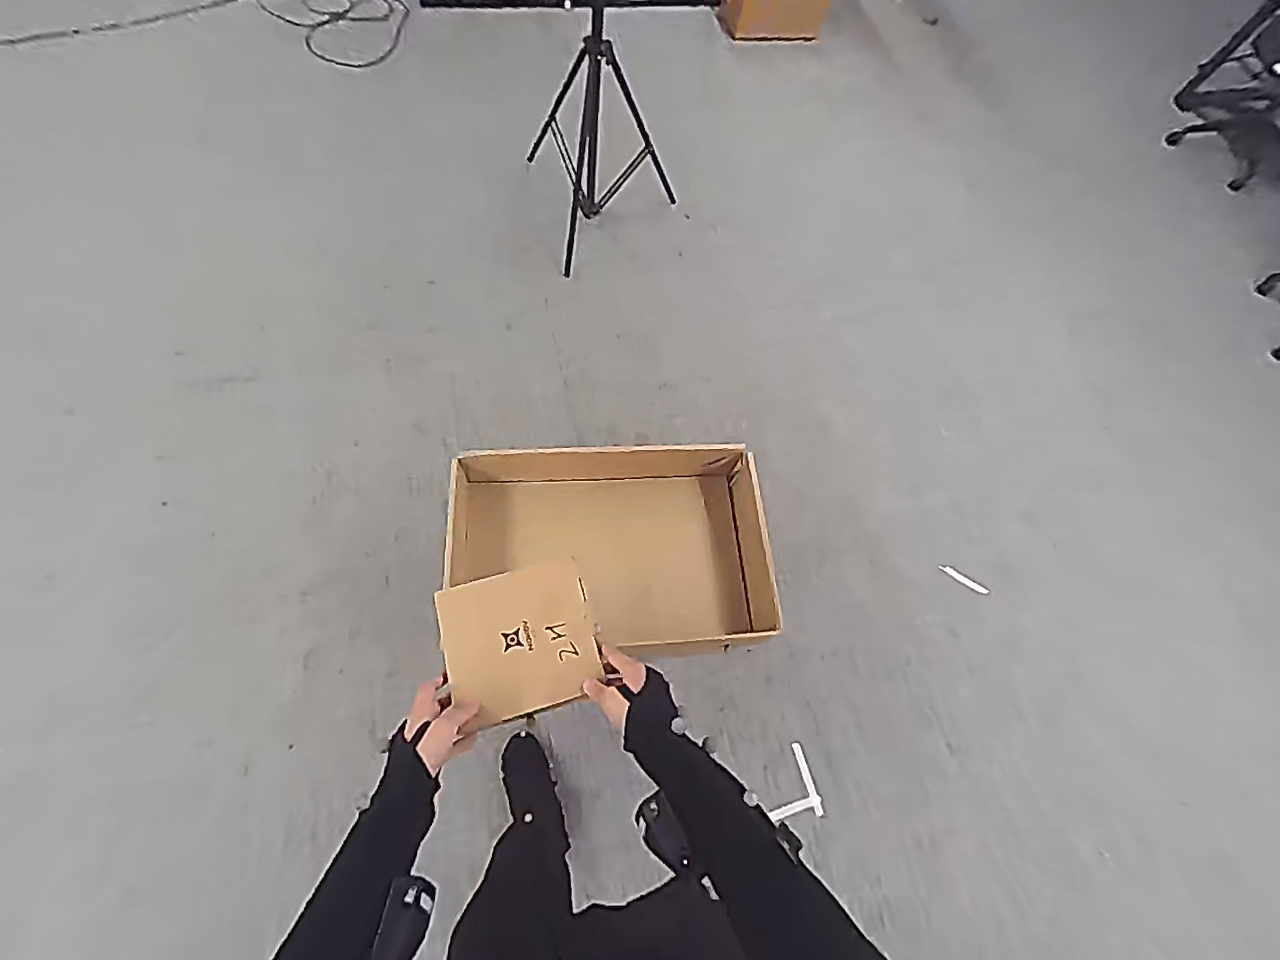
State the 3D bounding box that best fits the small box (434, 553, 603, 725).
[{"bbox_3d":[-0.152,0.214,0.714,0.179,0.176,0.168,-13,70,-11],"label":"small box"}]
